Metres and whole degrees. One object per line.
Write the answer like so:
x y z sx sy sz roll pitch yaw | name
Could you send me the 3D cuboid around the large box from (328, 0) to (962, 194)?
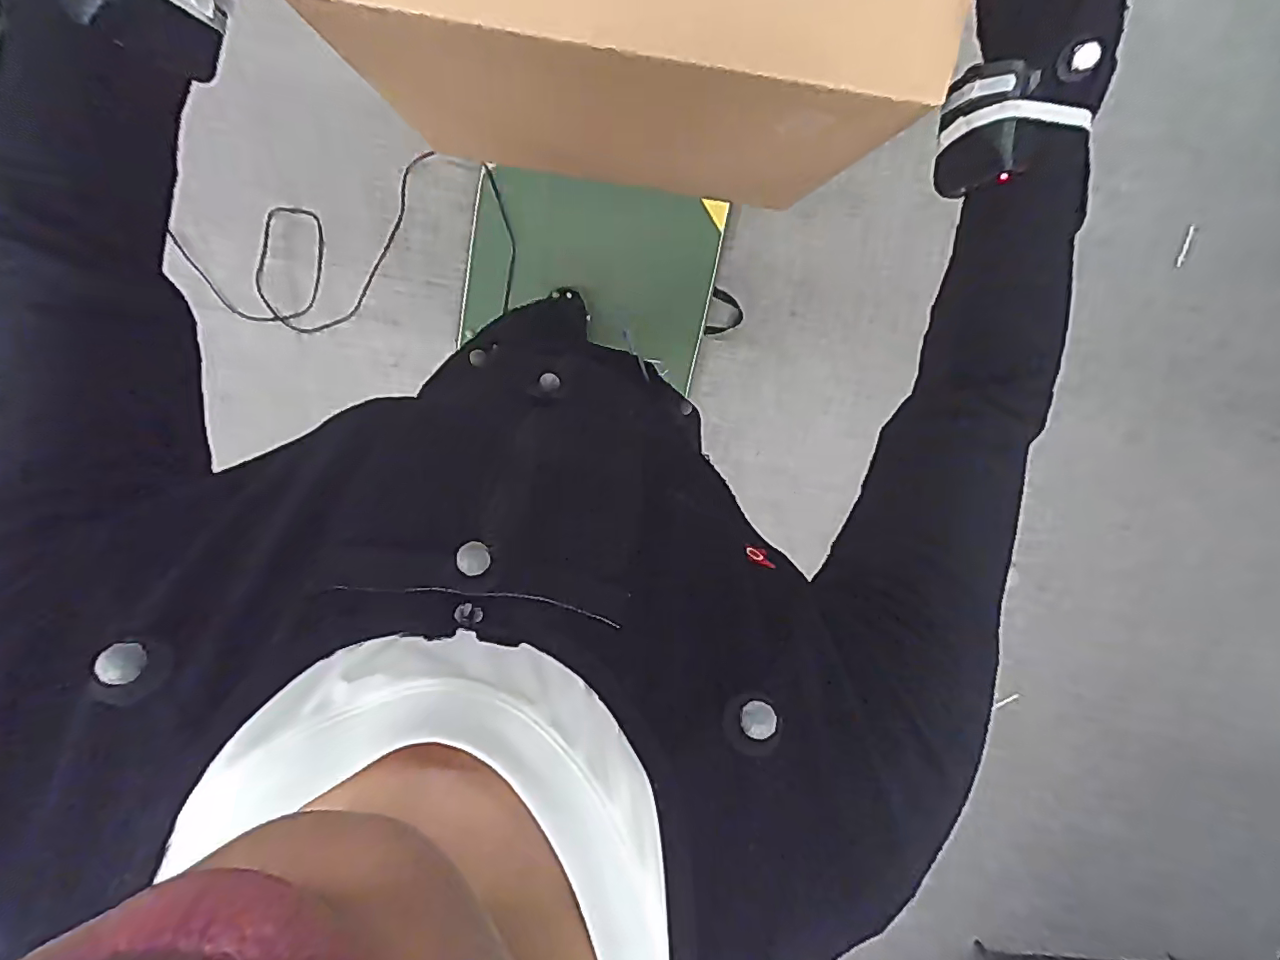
0.004 -0.456 0.433 0.408 0.320 0.320 6 106 -6 | large box
